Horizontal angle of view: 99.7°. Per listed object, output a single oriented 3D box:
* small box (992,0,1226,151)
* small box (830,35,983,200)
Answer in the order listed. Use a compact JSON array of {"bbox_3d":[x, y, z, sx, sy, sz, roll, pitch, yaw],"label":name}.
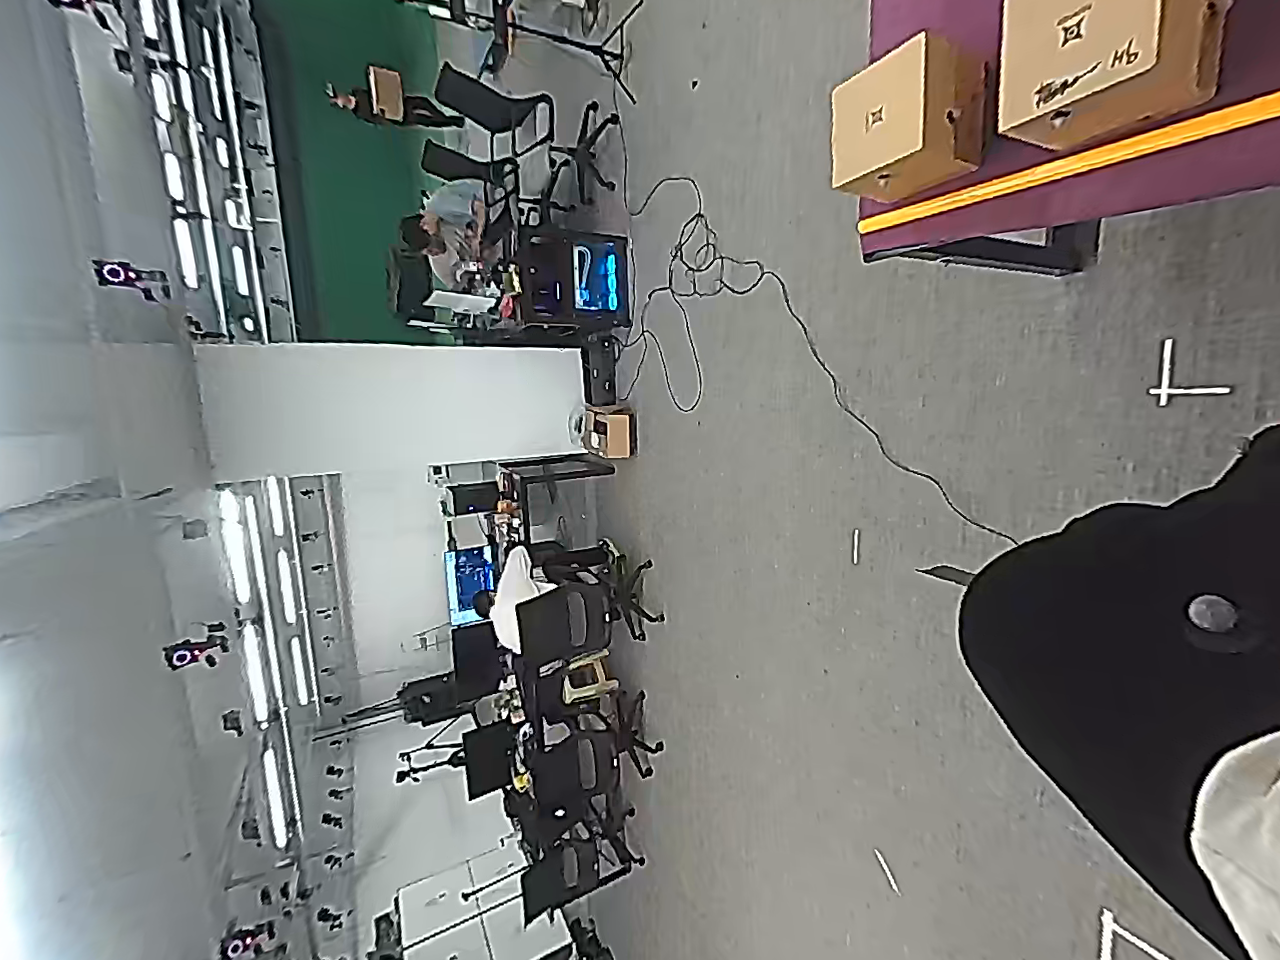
[{"bbox_3d":[0.580,-0.545,0.674,0.168,0.176,0.179,17,111,62],"label":"small box"},{"bbox_3d":[0.449,-0.597,0.918,0.179,0.176,0.168,12,107,61],"label":"small box"}]
